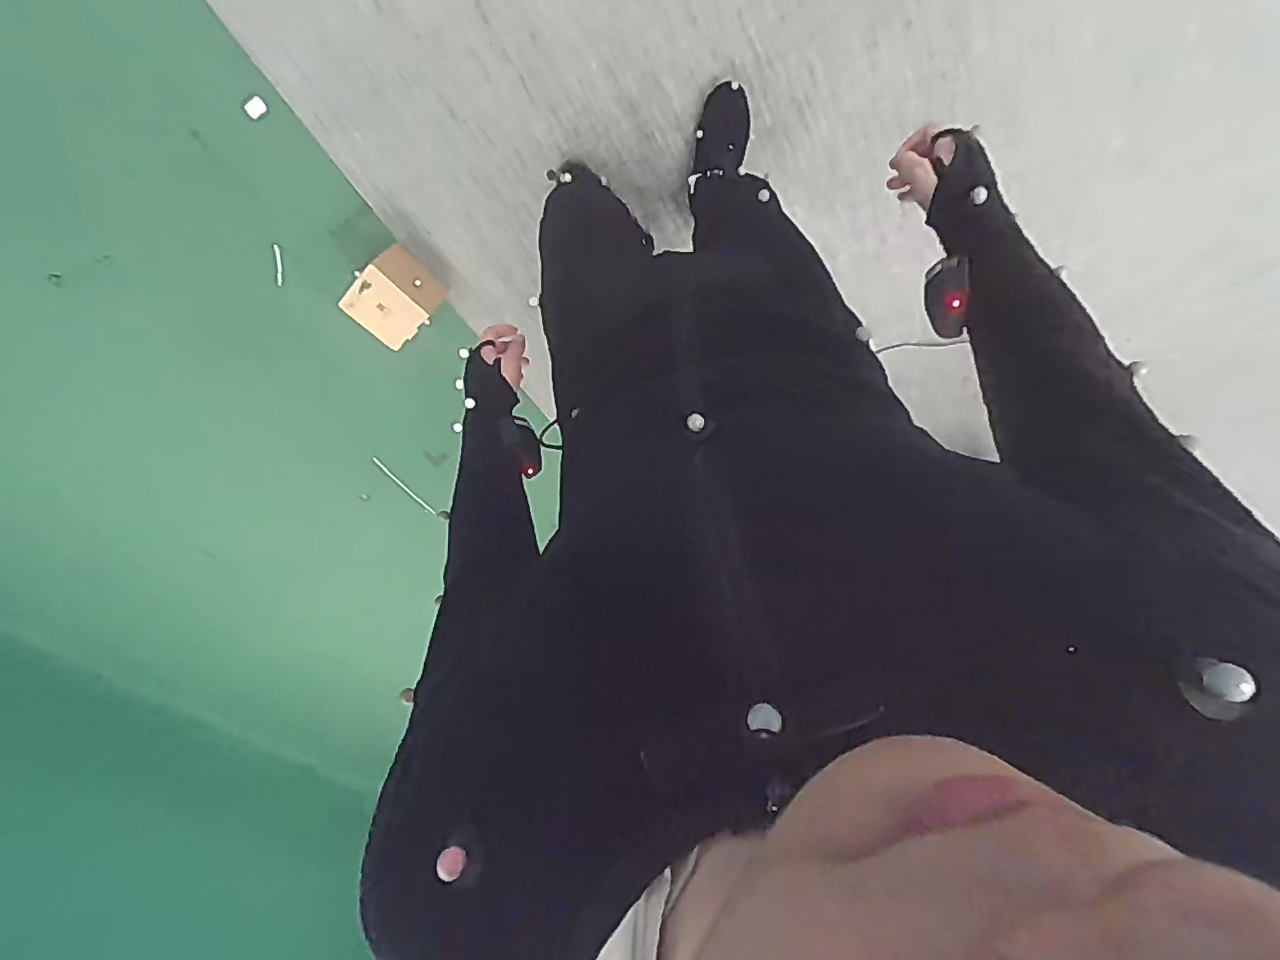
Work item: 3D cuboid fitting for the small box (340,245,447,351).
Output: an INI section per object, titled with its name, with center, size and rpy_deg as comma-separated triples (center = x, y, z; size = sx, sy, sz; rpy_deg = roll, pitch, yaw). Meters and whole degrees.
[small box]
center = -0.646, -0.488, 1.440
size = 0.168, 0.176, 0.179
rpy_deg = -32, 122, 27
